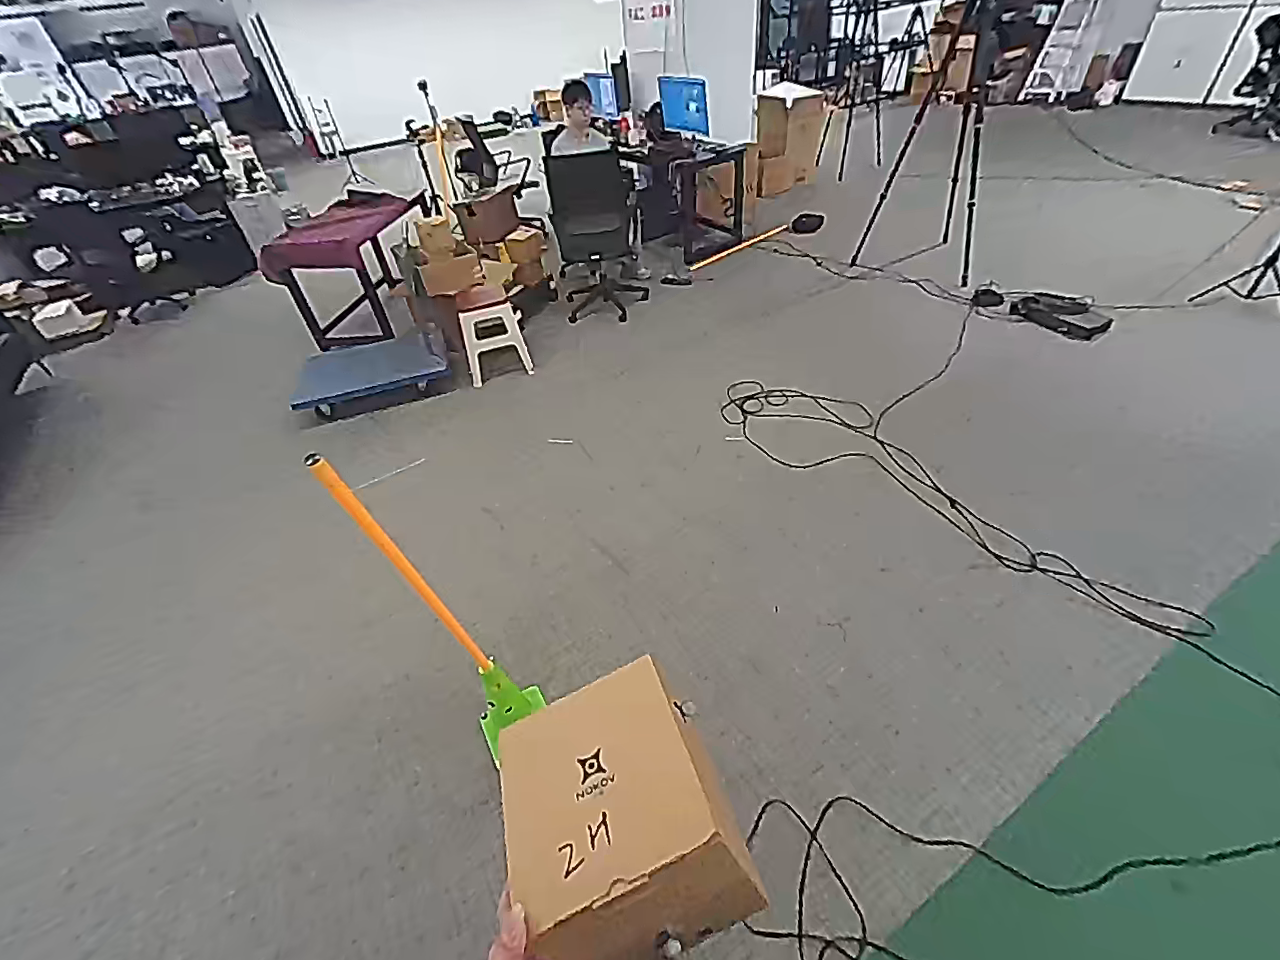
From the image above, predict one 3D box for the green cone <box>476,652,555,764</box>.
[{"bbox_3d":[-0.396,0.611,1.543,0.202,0.368,0.200,-24,44,-20],"label":"green cone"}]
